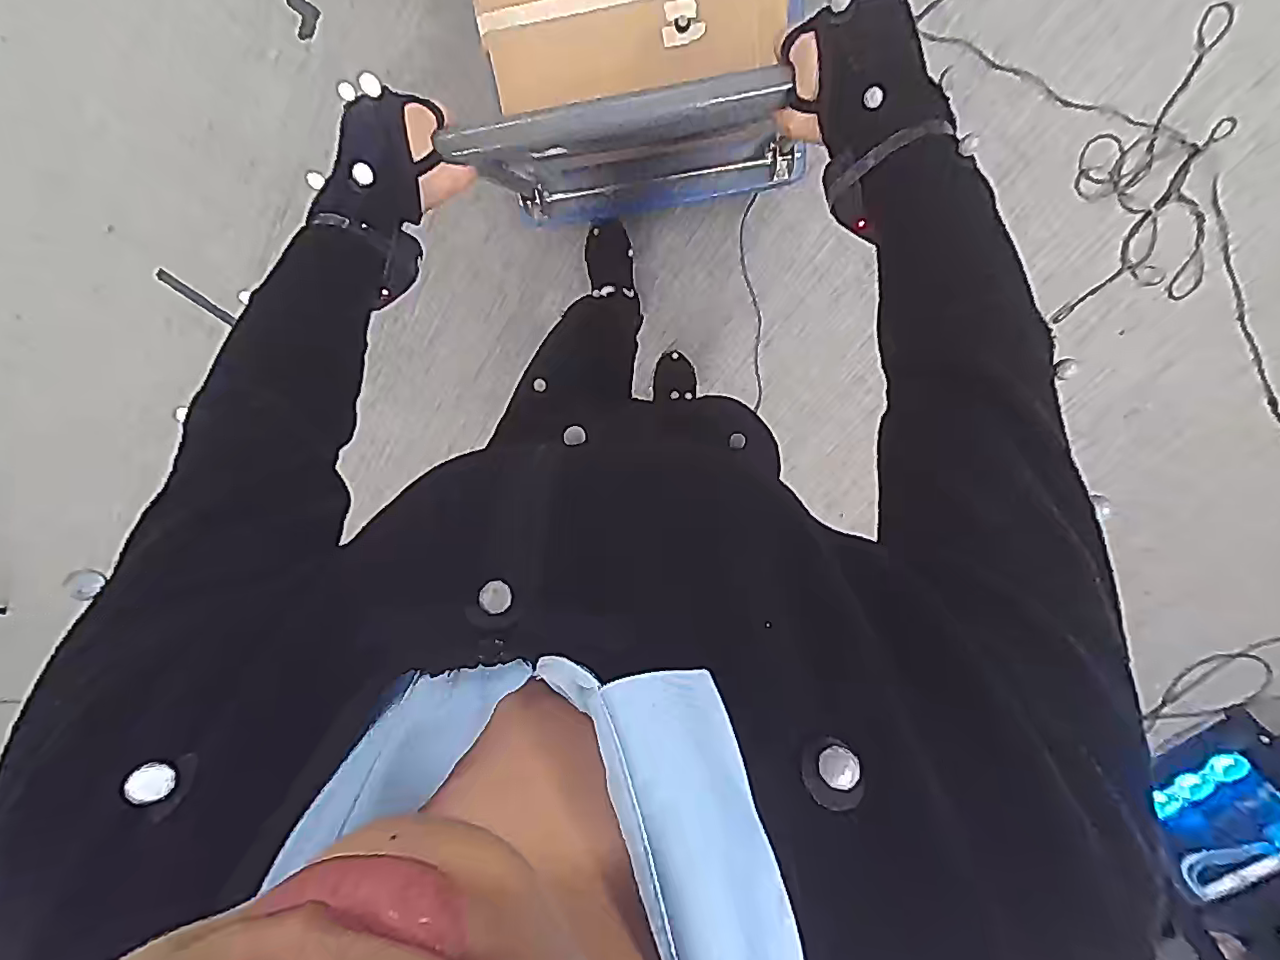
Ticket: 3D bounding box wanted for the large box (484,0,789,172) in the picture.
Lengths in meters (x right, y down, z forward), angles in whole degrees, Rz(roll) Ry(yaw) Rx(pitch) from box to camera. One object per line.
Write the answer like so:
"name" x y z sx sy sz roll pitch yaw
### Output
"large box" -0.004 -0.707 0.852 0.408 0.320 0.320 -6 115 6
